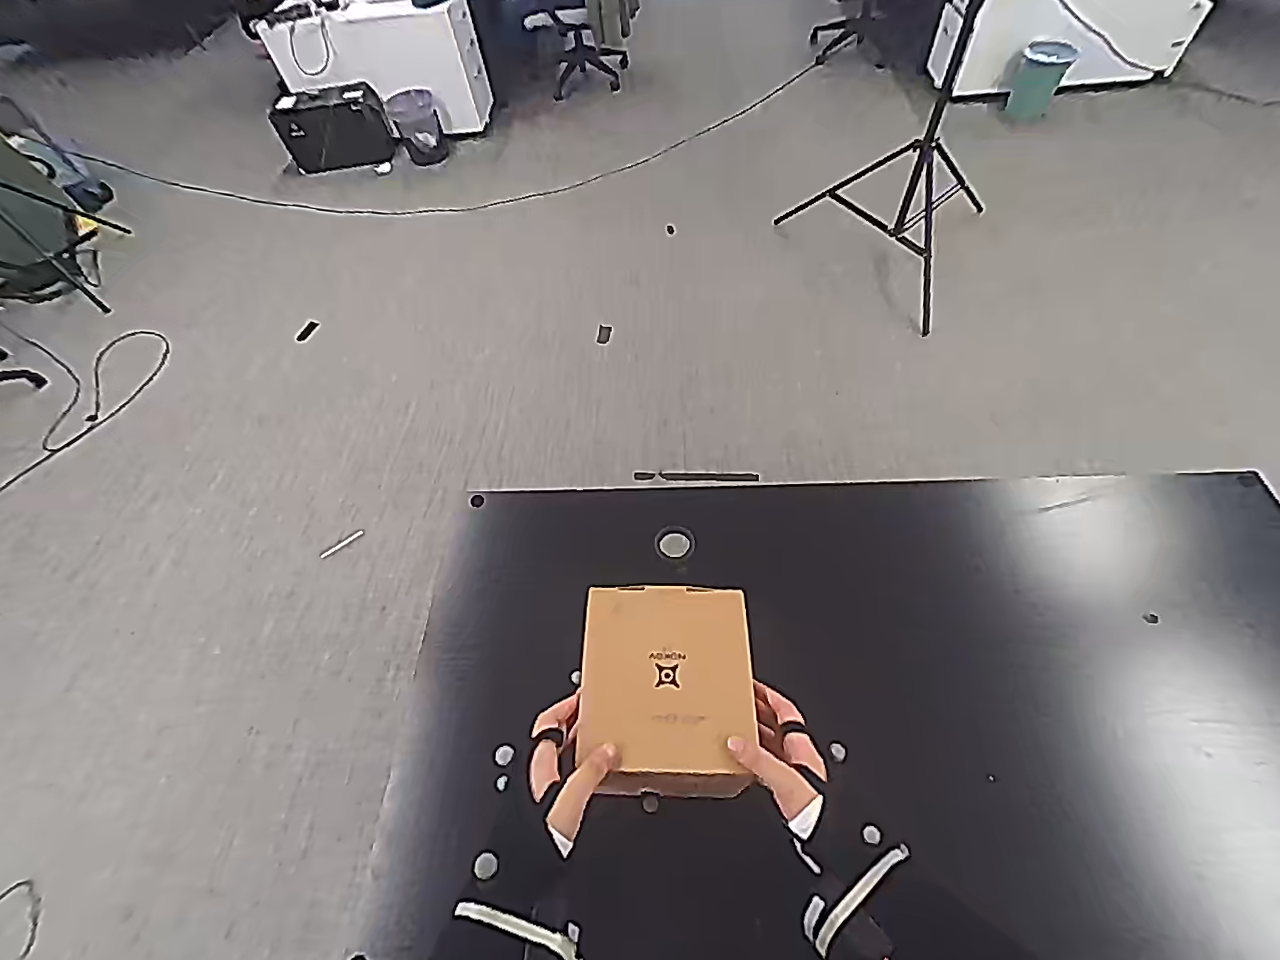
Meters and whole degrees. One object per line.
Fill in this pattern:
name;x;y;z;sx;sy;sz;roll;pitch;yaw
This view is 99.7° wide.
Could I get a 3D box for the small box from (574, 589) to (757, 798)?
small box;0.024;0.235;0.589;0.168;0.176;0.179;0;54;1
